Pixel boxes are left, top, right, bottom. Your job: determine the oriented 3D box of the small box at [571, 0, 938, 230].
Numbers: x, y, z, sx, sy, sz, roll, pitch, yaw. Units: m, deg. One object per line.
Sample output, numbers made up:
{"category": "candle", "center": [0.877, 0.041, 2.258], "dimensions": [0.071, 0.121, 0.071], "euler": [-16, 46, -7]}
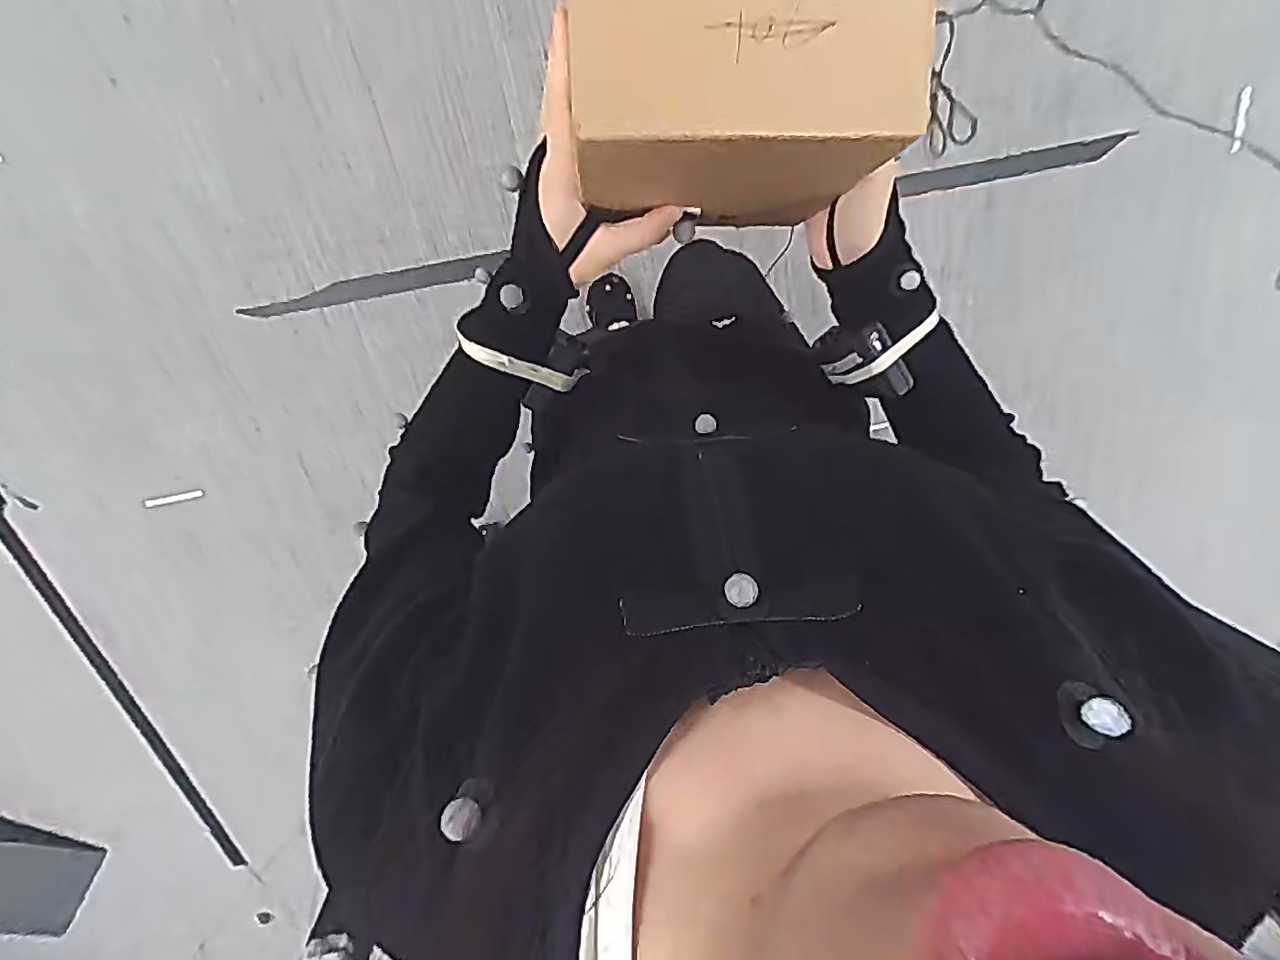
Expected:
{"category": "small box", "center": [0.044, -0.258, 0.309], "dimensions": [0.168, 0.176, 0.179], "euler": [-3, 102, -3]}
